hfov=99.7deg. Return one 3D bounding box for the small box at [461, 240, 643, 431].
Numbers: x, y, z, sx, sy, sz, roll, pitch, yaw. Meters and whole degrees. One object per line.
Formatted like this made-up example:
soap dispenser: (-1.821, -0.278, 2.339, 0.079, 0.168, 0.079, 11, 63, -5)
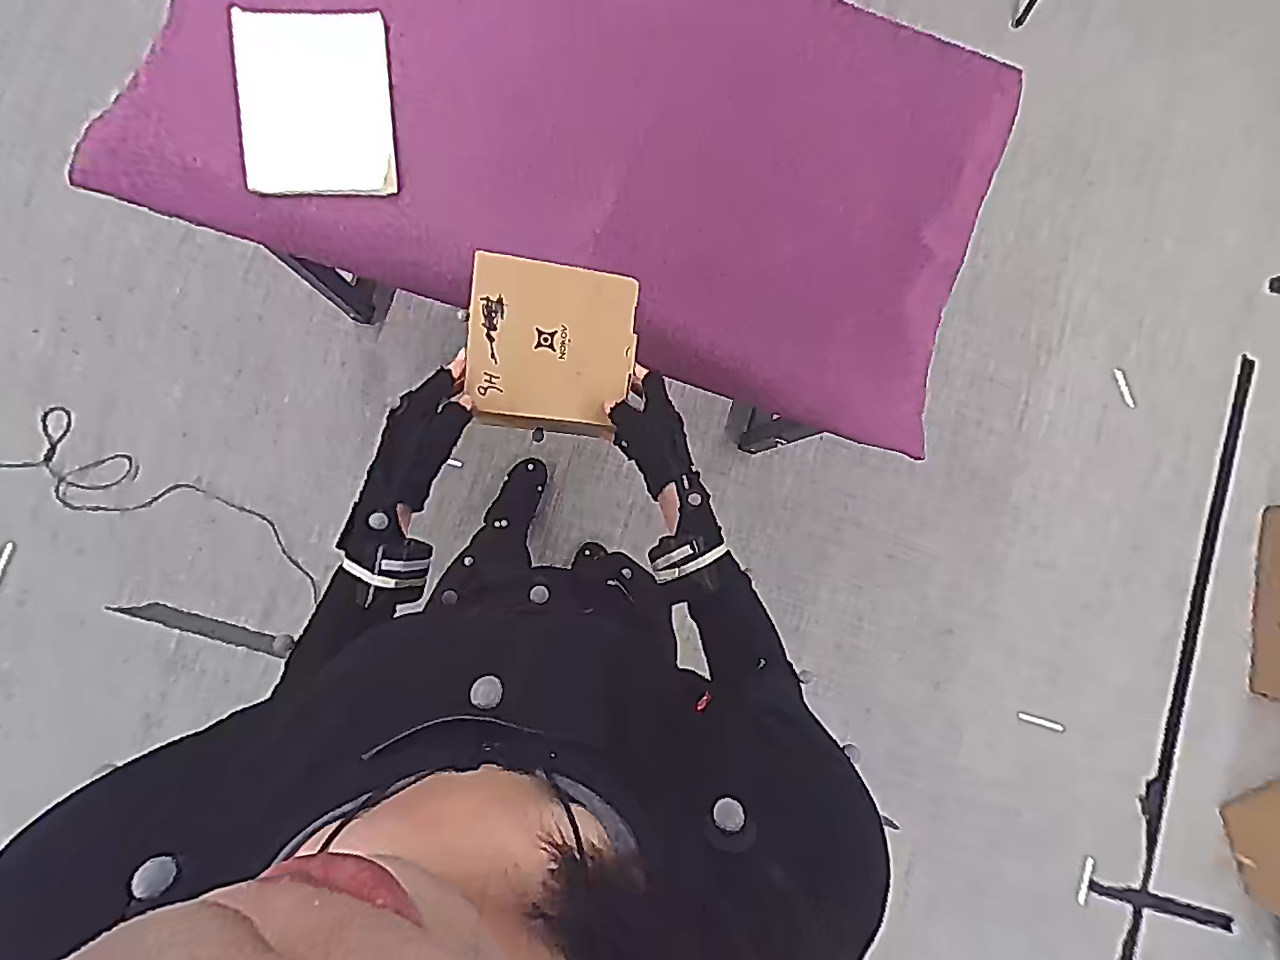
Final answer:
small box: (-0.109, -0.152, 0.639, 0.179, 0.176, 0.168, 6, 88, -15)
